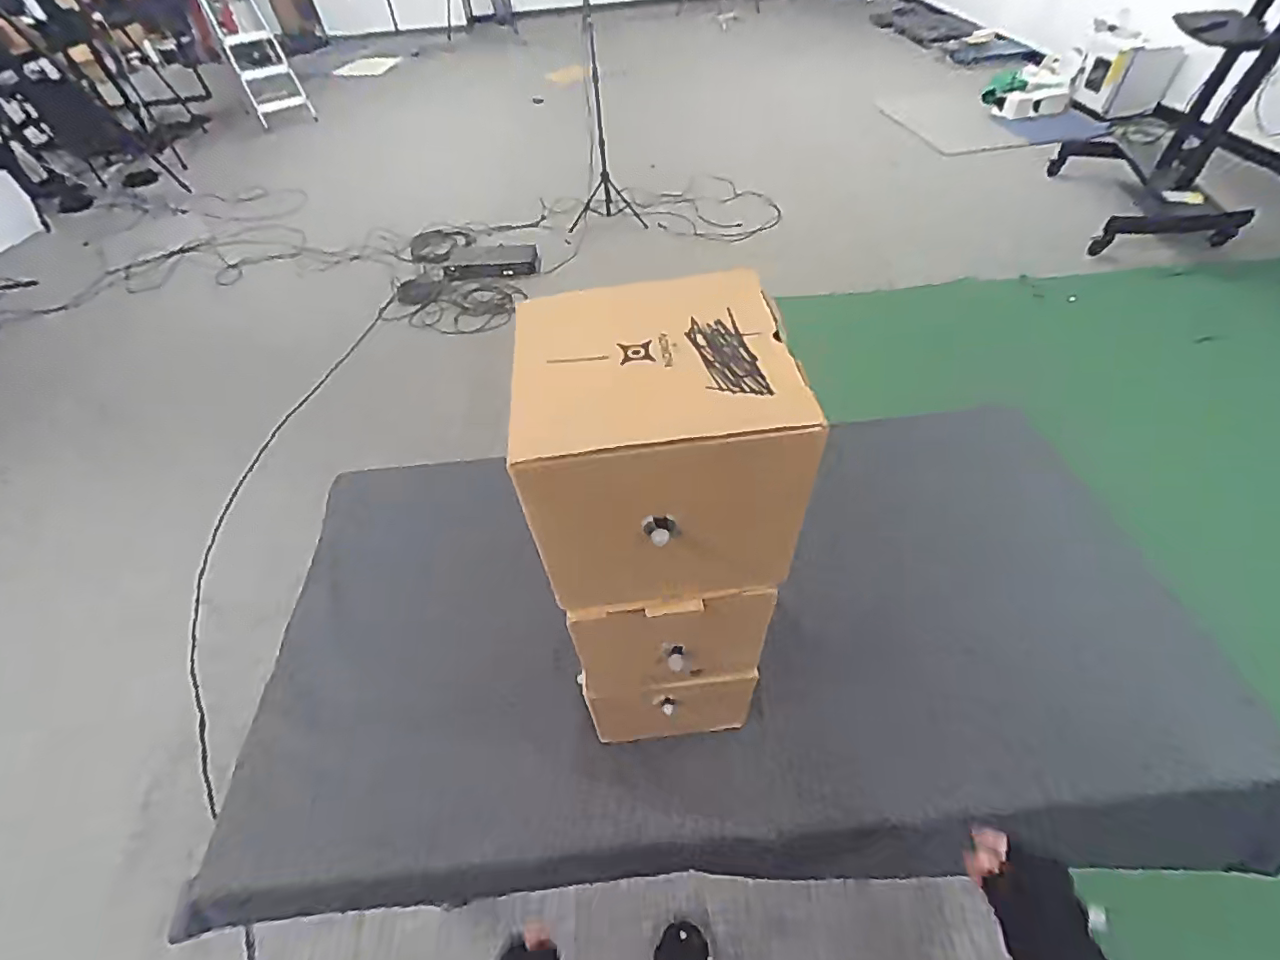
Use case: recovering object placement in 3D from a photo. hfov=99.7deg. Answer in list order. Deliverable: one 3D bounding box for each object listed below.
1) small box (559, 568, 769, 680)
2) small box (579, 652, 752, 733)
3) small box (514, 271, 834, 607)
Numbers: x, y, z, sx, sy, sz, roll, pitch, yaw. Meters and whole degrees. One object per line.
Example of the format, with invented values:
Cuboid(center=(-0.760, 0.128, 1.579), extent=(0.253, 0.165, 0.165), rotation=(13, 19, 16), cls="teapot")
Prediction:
Cuboid(center=(0.016, 0.080, 0.523), extent=(0.168, 0.176, 0.179), rotation=(-7, 51, -2), cls="small box")
Cuboid(center=(0.024, 0.189, 0.644), extent=(0.179, 0.176, 0.168), rotation=(-6, 51, -2), cls="small box")
Cuboid(center=(0.011, -0.026, 0.396), extent=(0.179, 0.176, 0.168), rotation=(-8, 50, -4), cls="small box")
